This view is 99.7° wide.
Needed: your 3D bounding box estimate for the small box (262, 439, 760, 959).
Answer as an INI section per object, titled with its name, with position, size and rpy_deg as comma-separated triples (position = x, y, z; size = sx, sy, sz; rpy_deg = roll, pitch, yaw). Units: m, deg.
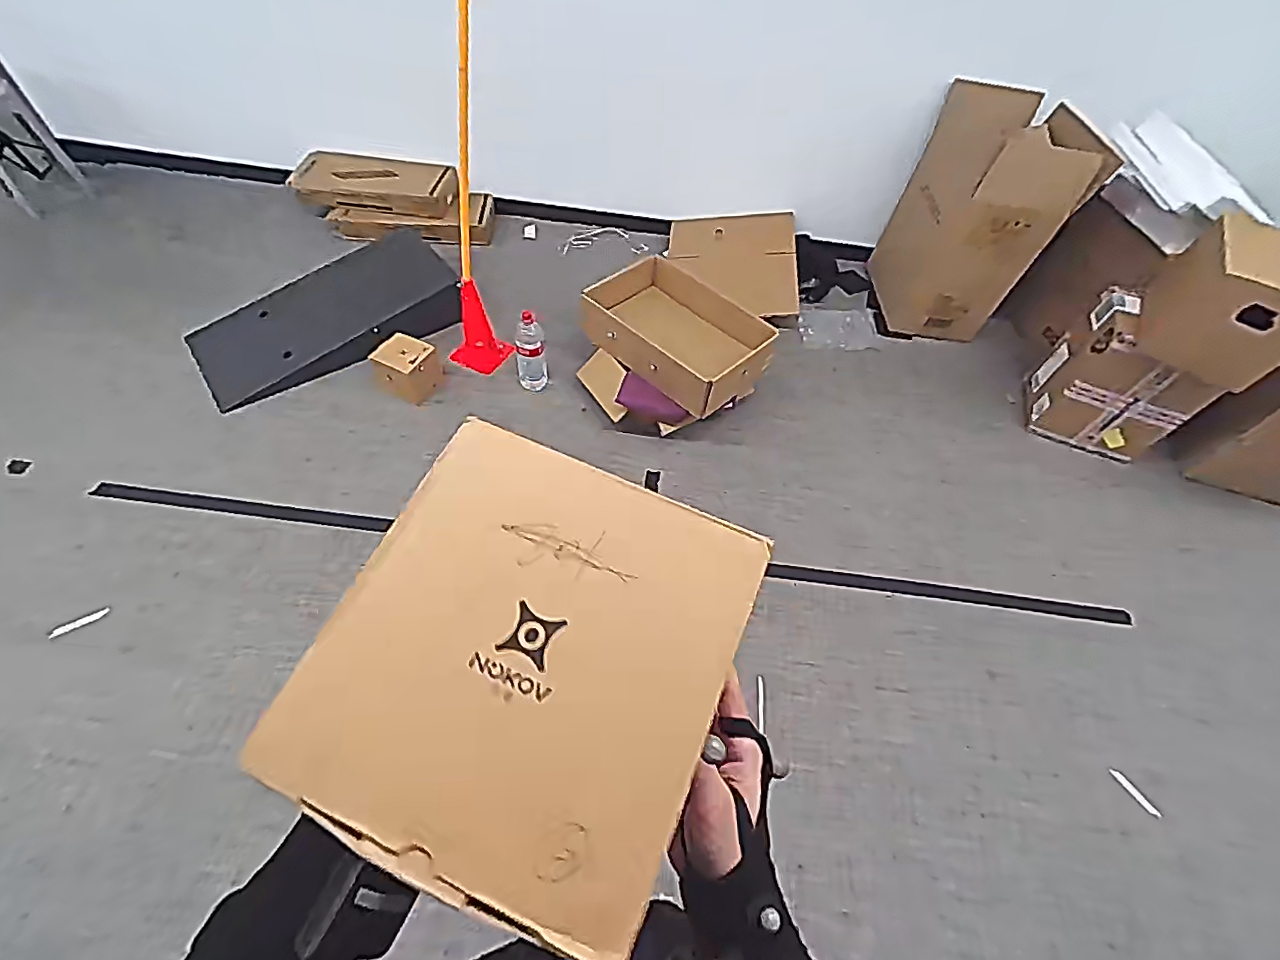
[small box]
position = -0.050, 0.112, 0.313
size = 0.168, 0.176, 0.179
rpy_deg = 22, 66, 7
